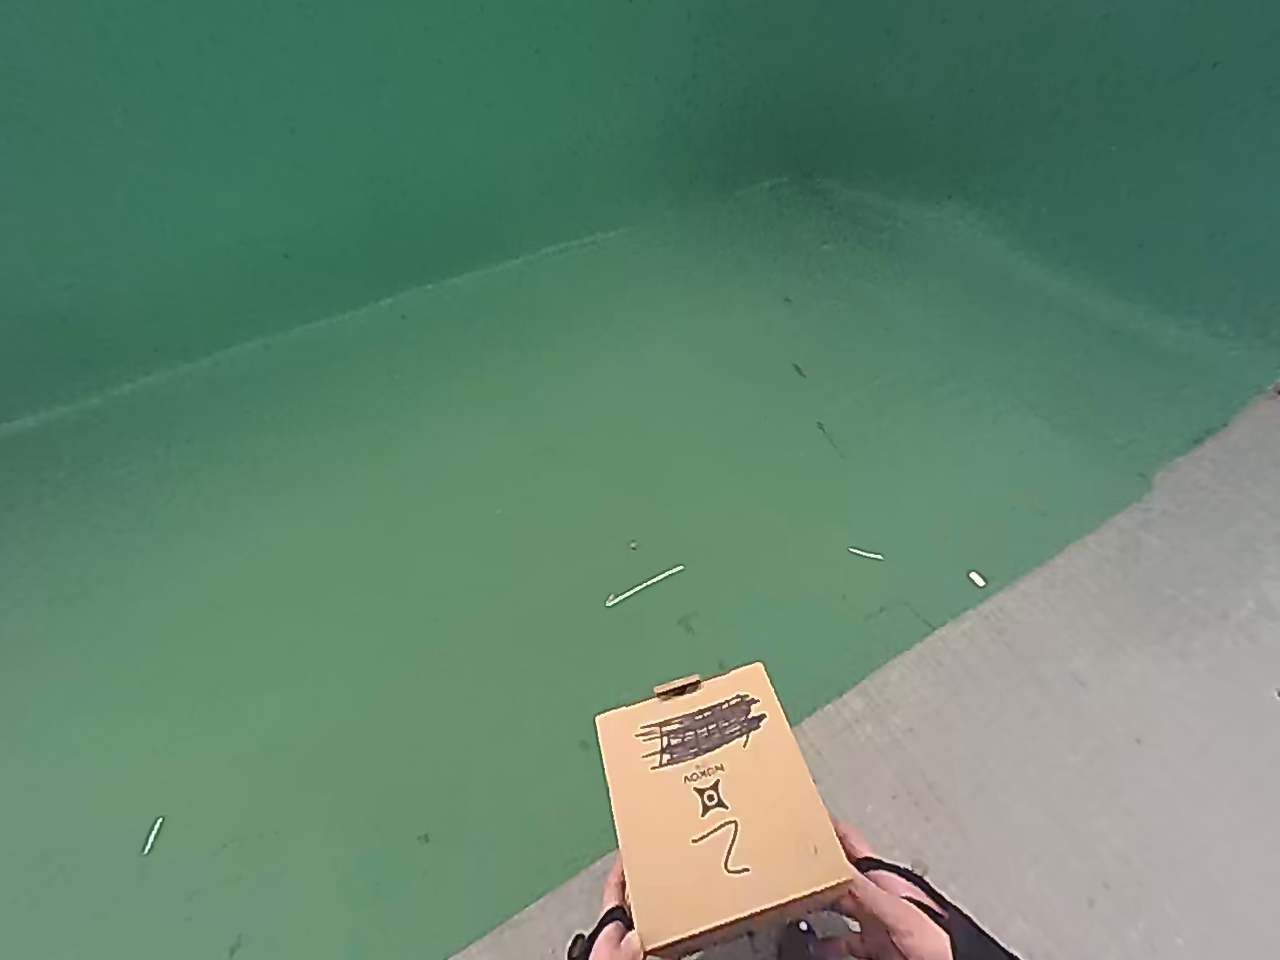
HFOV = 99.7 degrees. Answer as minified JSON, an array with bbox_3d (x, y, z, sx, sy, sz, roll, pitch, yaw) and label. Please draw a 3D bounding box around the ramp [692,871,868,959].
[{"bbox_3d":[0.448,1.386,0.996,0.509,0.206,0.991,-27,55,-18],"label":"ramp"}]
